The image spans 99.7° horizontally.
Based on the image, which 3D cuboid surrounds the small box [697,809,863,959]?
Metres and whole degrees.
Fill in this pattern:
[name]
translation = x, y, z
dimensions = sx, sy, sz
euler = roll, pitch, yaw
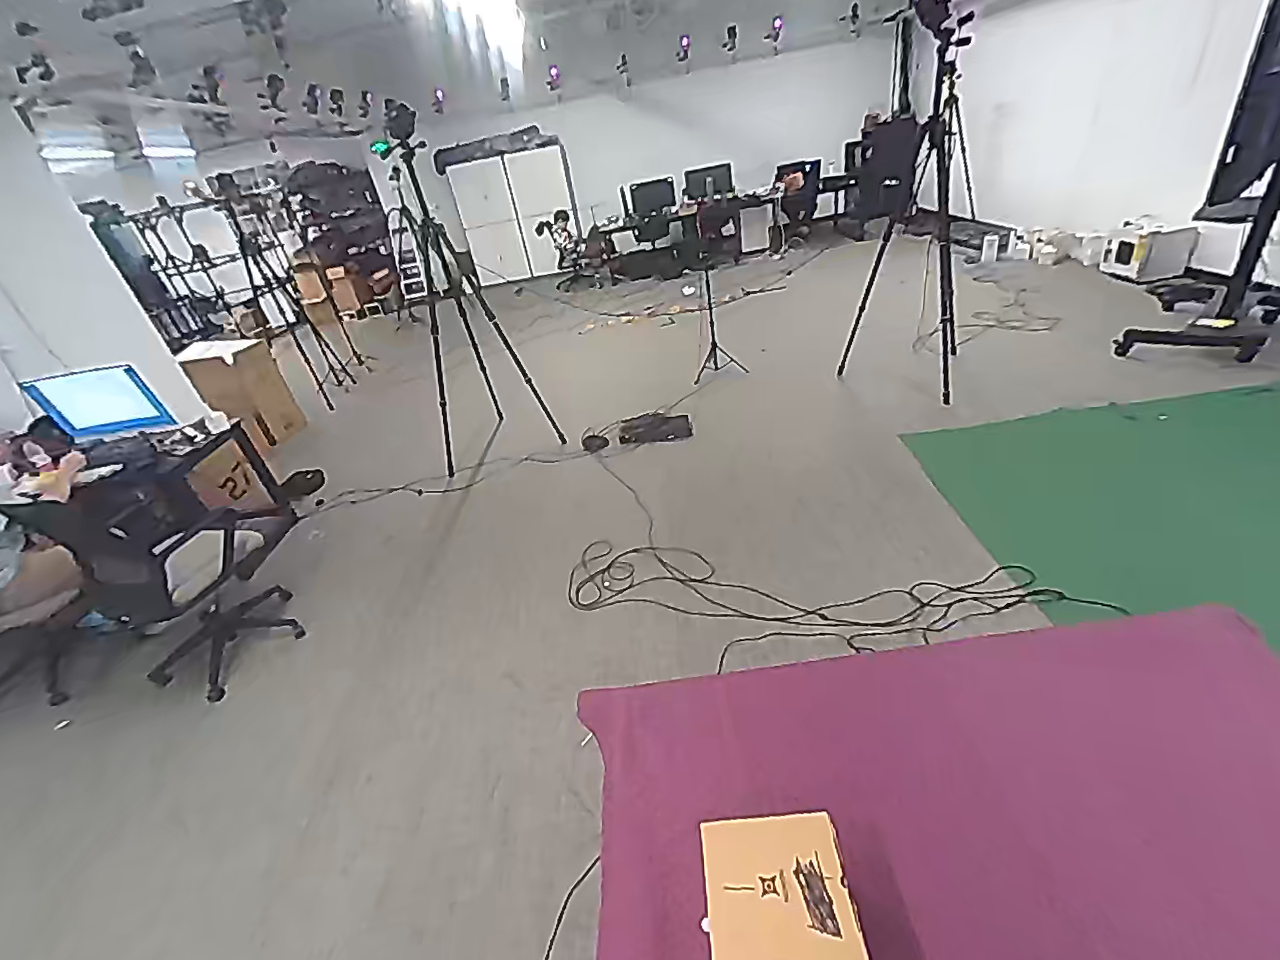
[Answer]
[small box]
translation = 0.175, 0.561, 0.704
dimensions = 0.179, 0.176, 0.168
euler = -9, 31, 7
